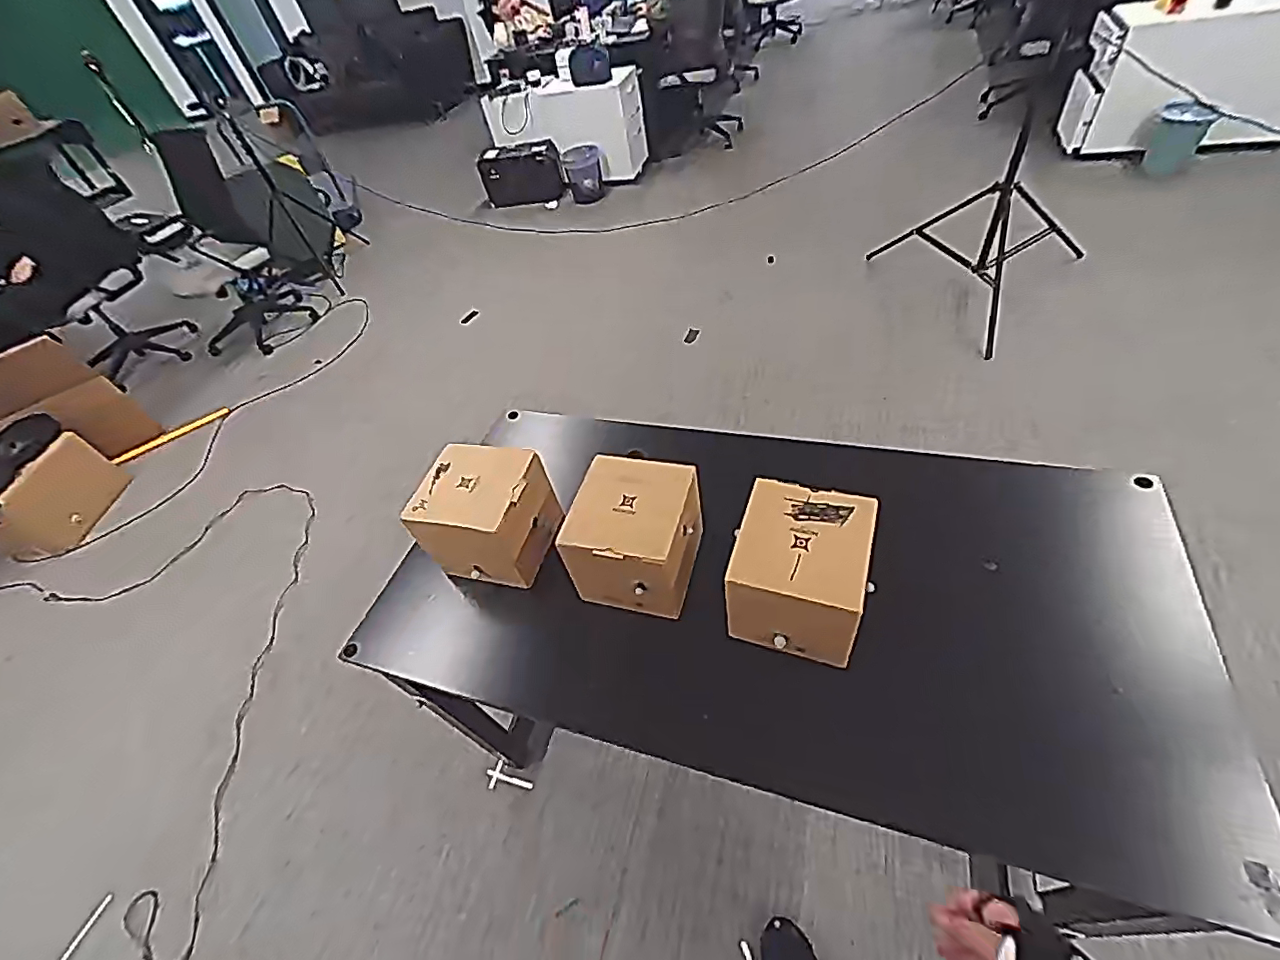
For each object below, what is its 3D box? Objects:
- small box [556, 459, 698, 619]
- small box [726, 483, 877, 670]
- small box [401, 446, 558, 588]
[{"bbox_3d":[-0.007,0.094,0.847,0.168,0.176,0.179,8,50,17],"label":"small box"},{"bbox_3d":[0.223,0.135,0.760,0.168,0.176,0.179,11,53,21],"label":"small box"},{"bbox_3d":[-0.257,0.066,0.921,0.179,0.176,0.168,7,50,16],"label":"small box"}]
